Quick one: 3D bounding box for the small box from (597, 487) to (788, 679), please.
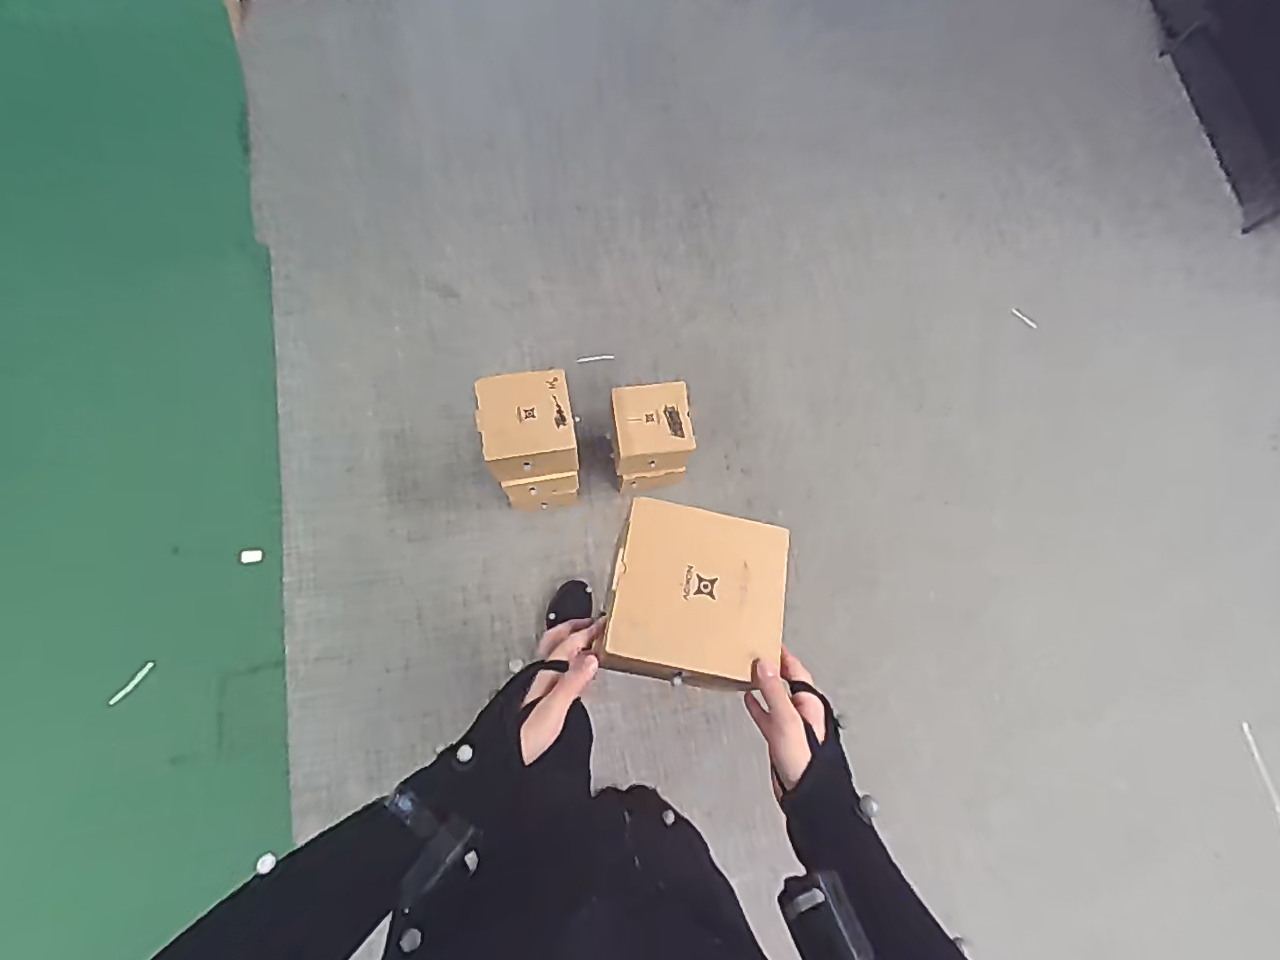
[{"bbox_3d":[0.052,0.129,0.627,0.179,0.176,0.168,13,66,-3],"label":"small box"}]

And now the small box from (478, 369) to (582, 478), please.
[{"bbox_3d":[-0.219,-0.108,1.108,0.179,0.176,0.168,-9,78,-6],"label":"small box"}]

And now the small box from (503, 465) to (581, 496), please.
[{"bbox_3d":[-0.233,-0.065,1.266,0.168,0.176,0.179,-10,77,-7],"label":"small box"}]

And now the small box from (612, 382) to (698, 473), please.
[{"bbox_3d":[0.029,-0.122,1.301,0.179,0.176,0.168,-7,76,-6],"label":"small box"}]

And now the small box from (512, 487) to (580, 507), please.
[{"bbox_3d":[-0.249,-0.028,1.422,0.168,0.176,0.179,-7,78,-7],"label":"small box"}]
